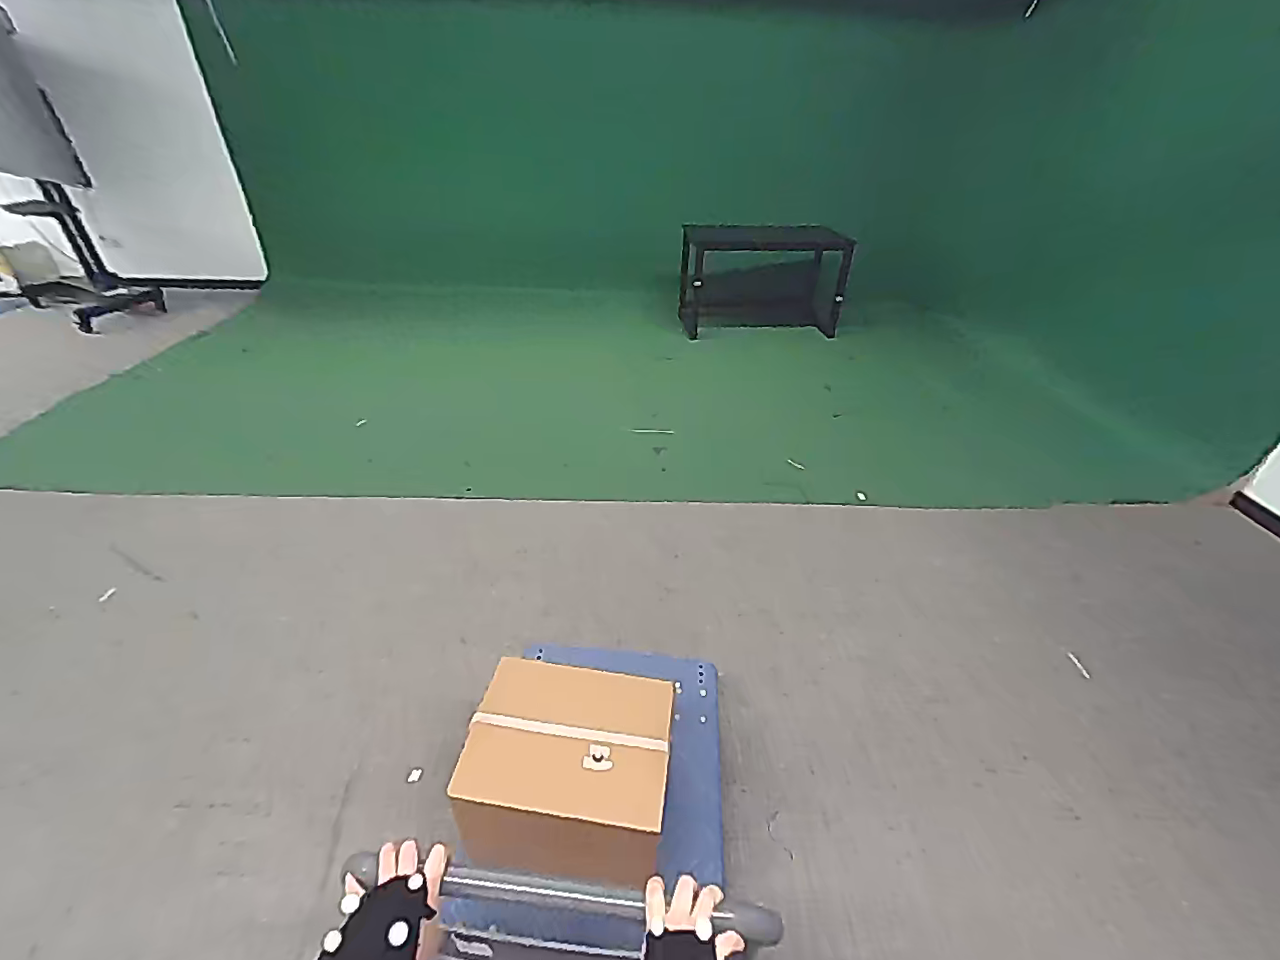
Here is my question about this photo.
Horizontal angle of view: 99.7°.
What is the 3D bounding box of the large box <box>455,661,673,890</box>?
[{"bbox_3d":[-0.149,0.652,1.208,0.408,0.320,0.320,7,35,4],"label":"large box"}]
